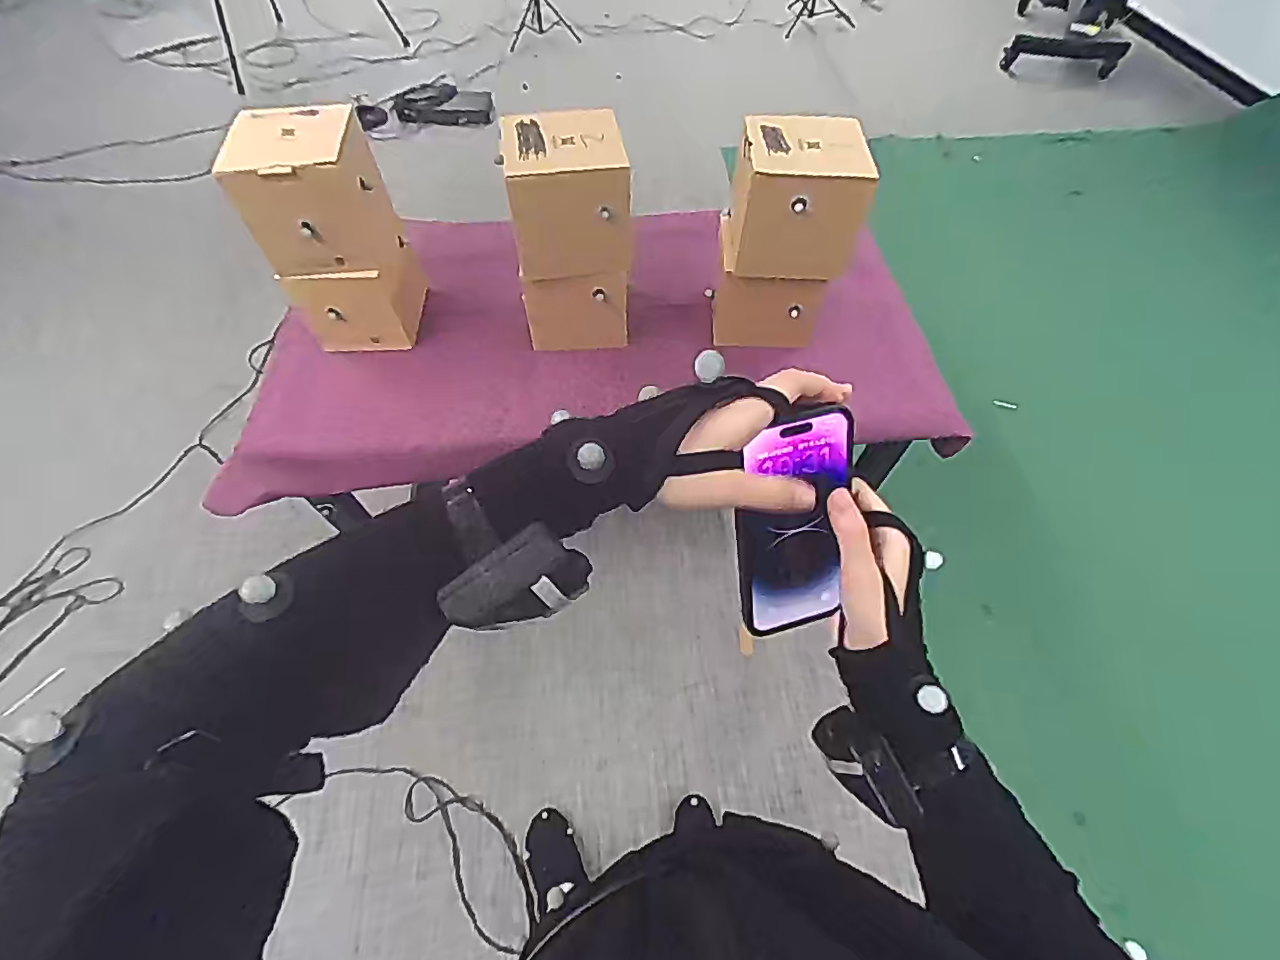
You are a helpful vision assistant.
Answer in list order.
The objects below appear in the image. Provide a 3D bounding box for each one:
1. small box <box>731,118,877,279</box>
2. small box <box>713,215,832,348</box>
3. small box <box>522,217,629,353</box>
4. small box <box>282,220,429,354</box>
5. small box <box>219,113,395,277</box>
[{"bbox_3d":[0.239,-0.434,0.843,0.179,0.176,0.168,2,57,1],"label":"small box"},{"bbox_3d":[0.231,-0.358,0.989,0.179,0.176,0.168,1,57,2],"label":"small box"},{"bbox_3d":[-0.110,-0.350,0.984,0.179,0.176,0.168,-4,58,-2],"label":"small box"},{"bbox_3d":[-0.501,-0.343,0.983,0.168,0.176,0.179,-3,57,-2],"label":"small box"},{"bbox_3d":[-0.503,-0.438,0.849,0.168,0.176,0.179,-7,58,-5],"label":"small box"}]
